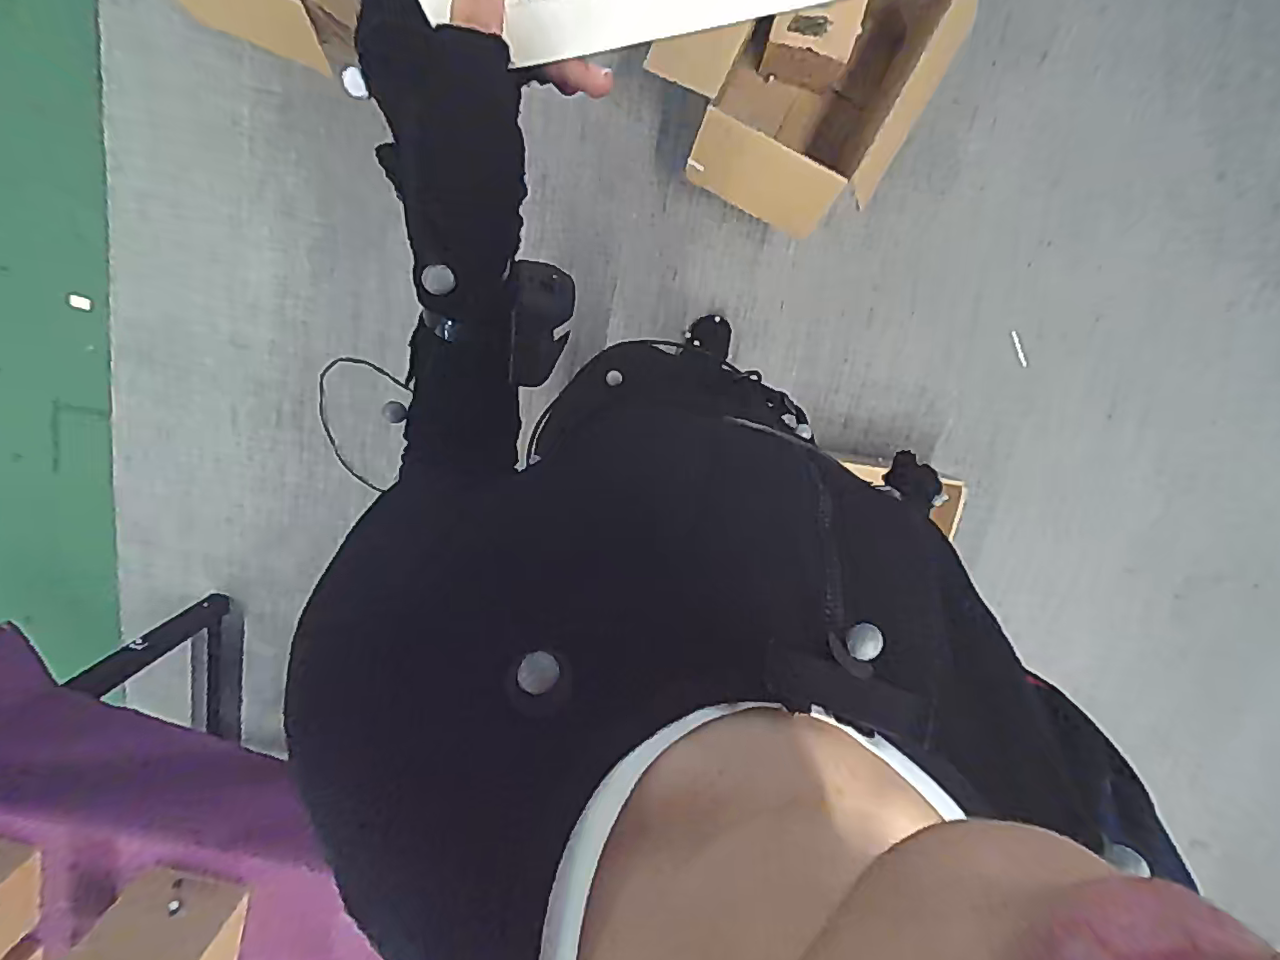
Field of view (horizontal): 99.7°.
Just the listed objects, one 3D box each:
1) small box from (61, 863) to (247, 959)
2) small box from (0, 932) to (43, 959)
[{"bbox_3d":[-0.752,0.751,0.838,0.168,0.176,0.179,18,104,-5],"label":"small box"},{"bbox_3d":[-1.134,0.867,0.870,0.168,0.176,0.179,19,103,-5],"label":"small box"}]
